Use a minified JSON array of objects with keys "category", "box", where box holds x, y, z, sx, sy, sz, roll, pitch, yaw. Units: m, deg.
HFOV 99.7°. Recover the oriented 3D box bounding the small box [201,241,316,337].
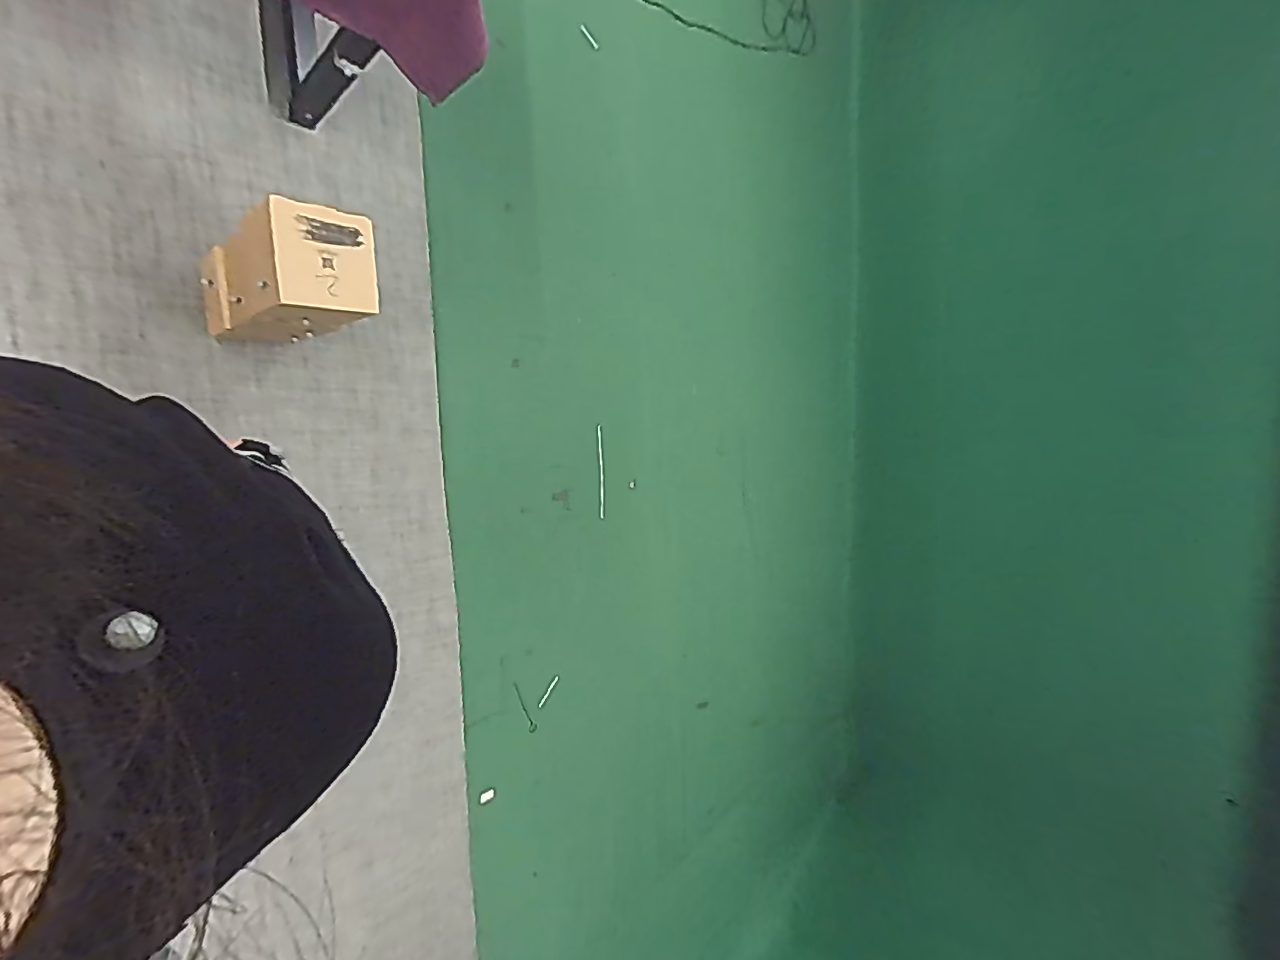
[{"category":"small box","box":[-0.858,-0.417,1.213,0.179,0.176,0.168,-12,102,-47]}]
